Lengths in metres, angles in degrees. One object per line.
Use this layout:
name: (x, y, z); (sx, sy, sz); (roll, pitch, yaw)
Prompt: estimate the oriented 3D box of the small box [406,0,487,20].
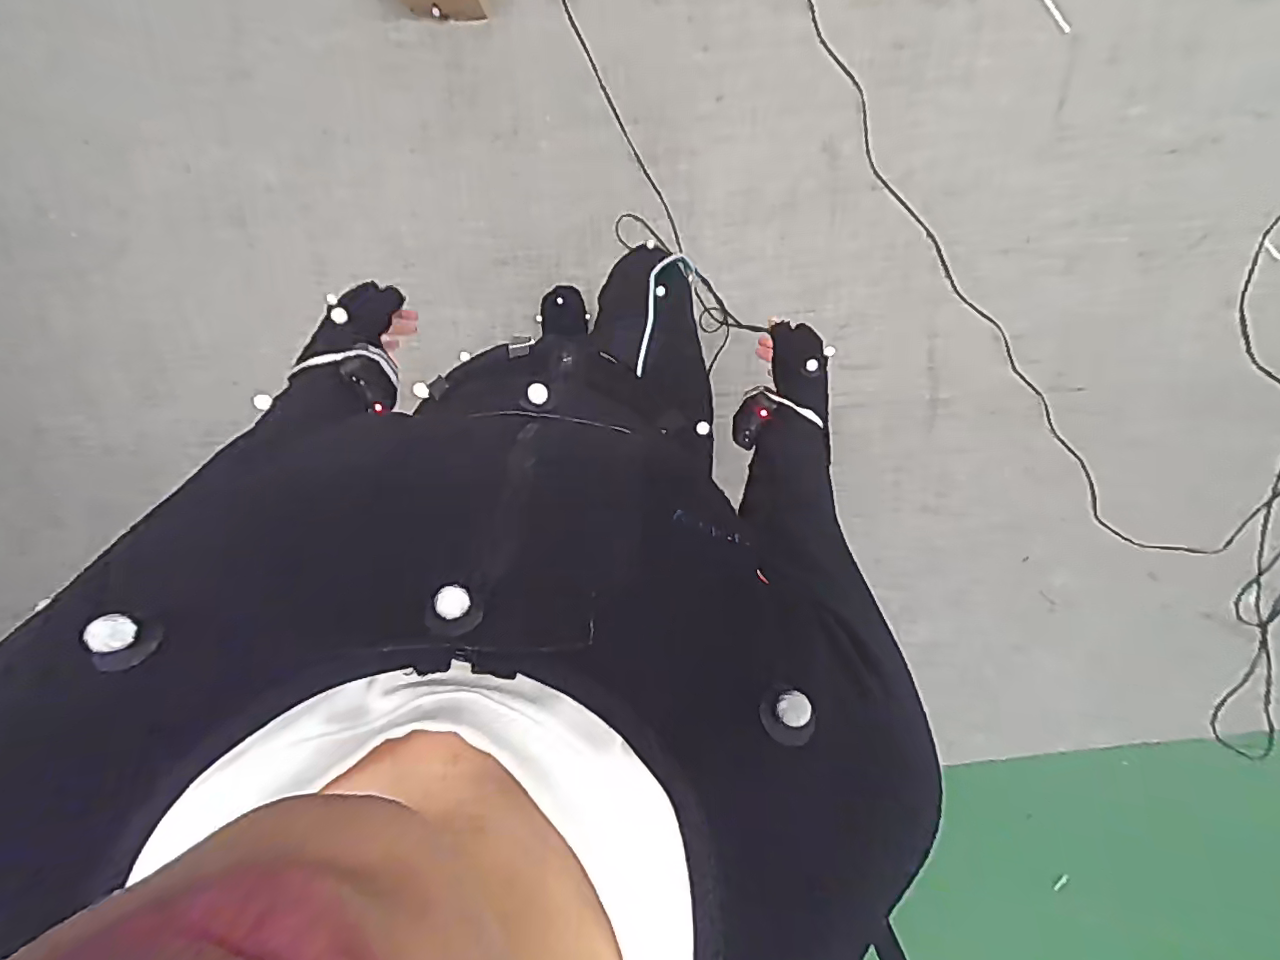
small box: (-0.394, -1.029, 1.030); (0.168, 0.176, 0.179); (2, 109, -4)
